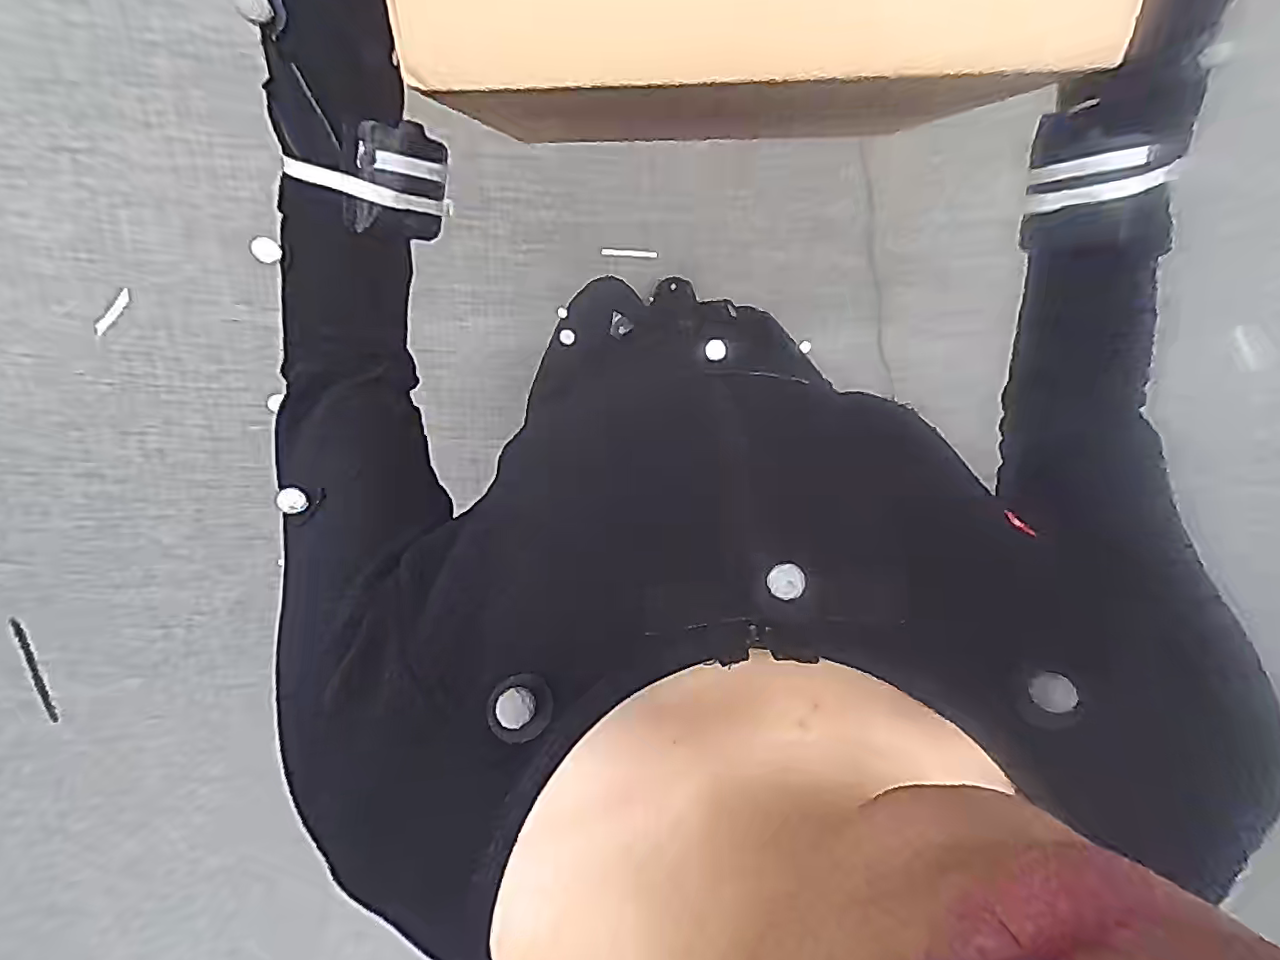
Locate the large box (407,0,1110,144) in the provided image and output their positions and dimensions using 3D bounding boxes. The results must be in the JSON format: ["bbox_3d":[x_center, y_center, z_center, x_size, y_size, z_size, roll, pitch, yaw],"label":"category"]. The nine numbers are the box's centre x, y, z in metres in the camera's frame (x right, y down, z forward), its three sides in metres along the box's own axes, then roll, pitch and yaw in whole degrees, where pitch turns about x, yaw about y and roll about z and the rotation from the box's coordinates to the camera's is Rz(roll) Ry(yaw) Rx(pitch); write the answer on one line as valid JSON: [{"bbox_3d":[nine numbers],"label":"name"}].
[{"bbox_3d":[0.059,-0.446,0.384,0.408,0.320,0.320,-2,117,1],"label":"large box"}]
